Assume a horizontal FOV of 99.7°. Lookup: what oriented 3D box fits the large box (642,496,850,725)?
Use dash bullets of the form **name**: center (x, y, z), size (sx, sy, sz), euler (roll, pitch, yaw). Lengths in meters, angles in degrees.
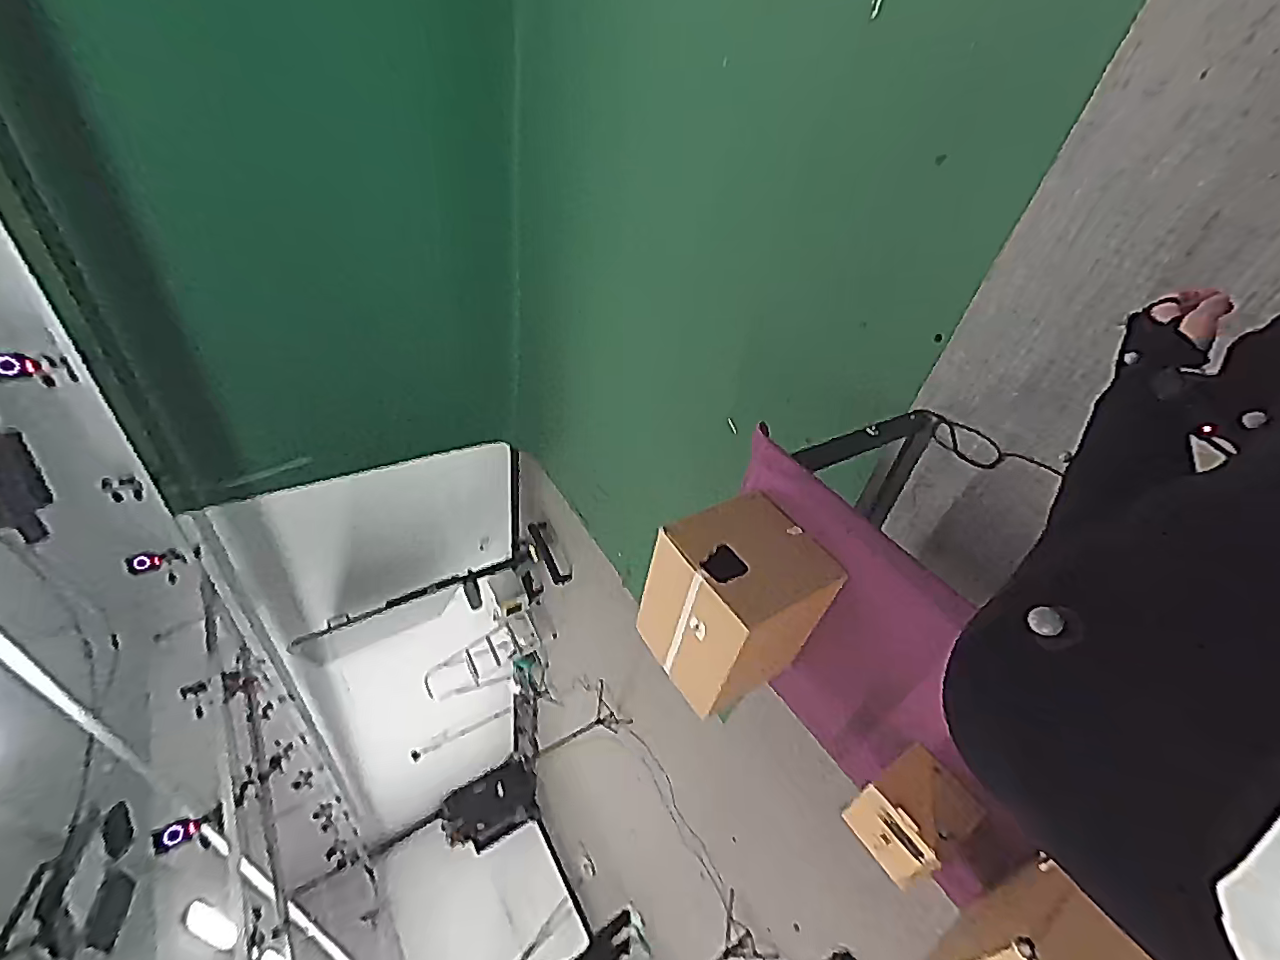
- **large box**: center (0.238, 0.312, 1.333), size (0.320, 0.320, 0.408), euler (47, 141, 35)
